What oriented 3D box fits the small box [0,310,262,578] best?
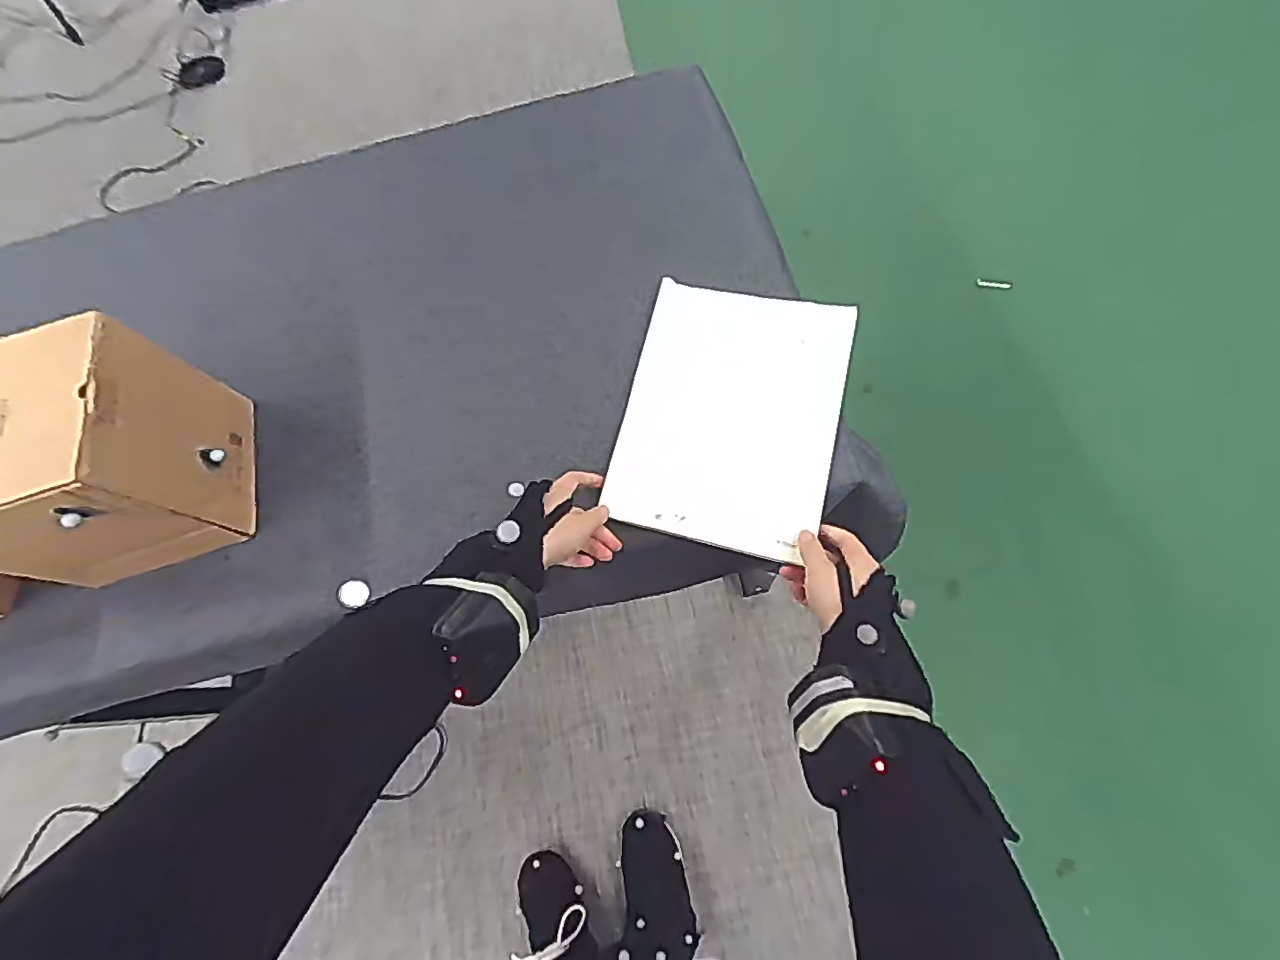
[{"bbox_3d":[-0.499,-0.019,0.506,0.179,0.176,0.168,-18,68,0],"label":"small box"}]
